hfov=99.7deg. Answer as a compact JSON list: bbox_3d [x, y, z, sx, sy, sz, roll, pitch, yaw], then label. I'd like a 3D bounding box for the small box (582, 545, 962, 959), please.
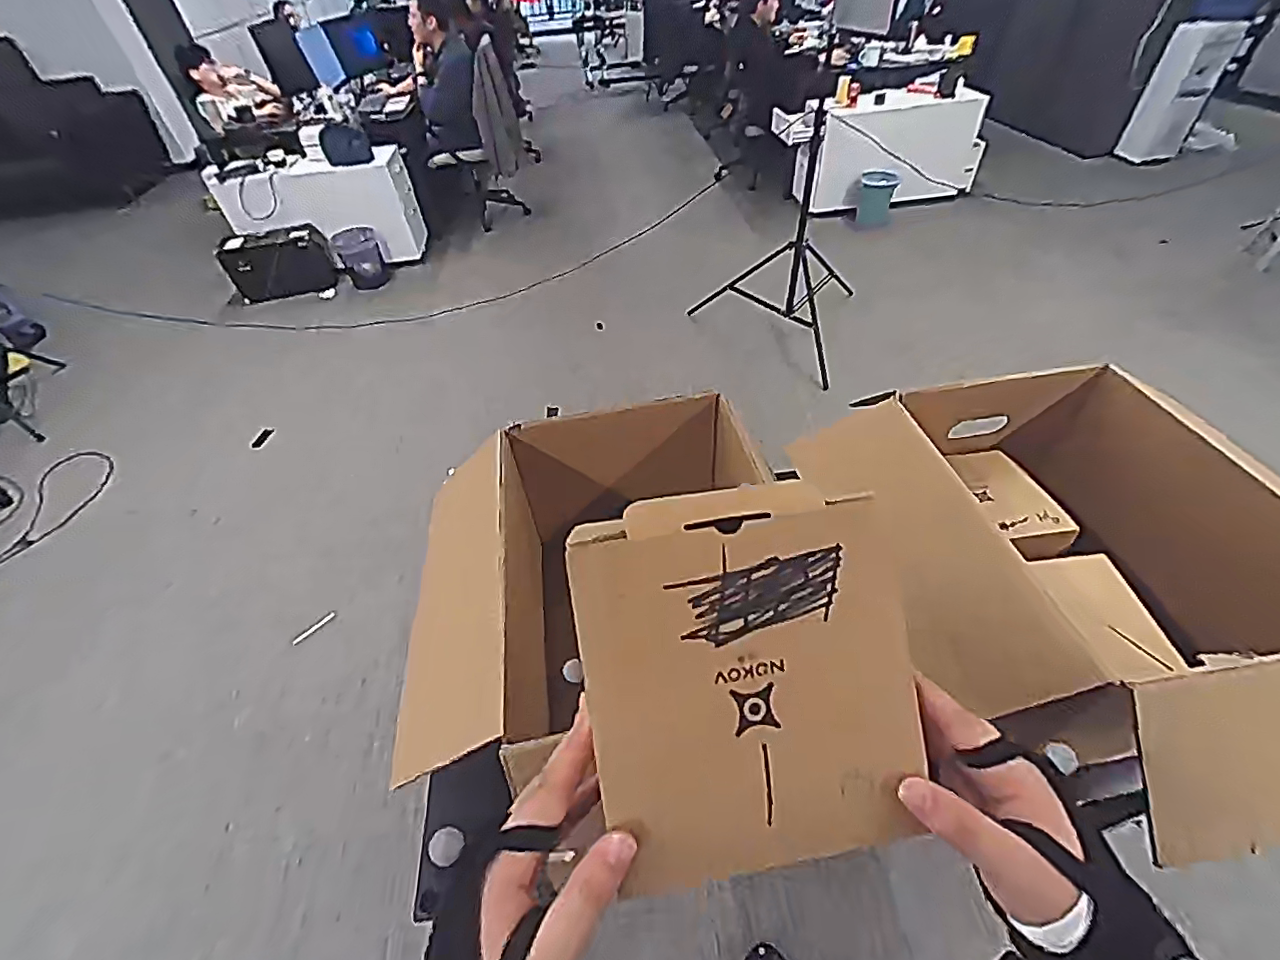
[{"bbox_3d":[0.055,0.137,0.334,0.168,0.176,0.179,-8,89,-6],"label":"small box"}]
